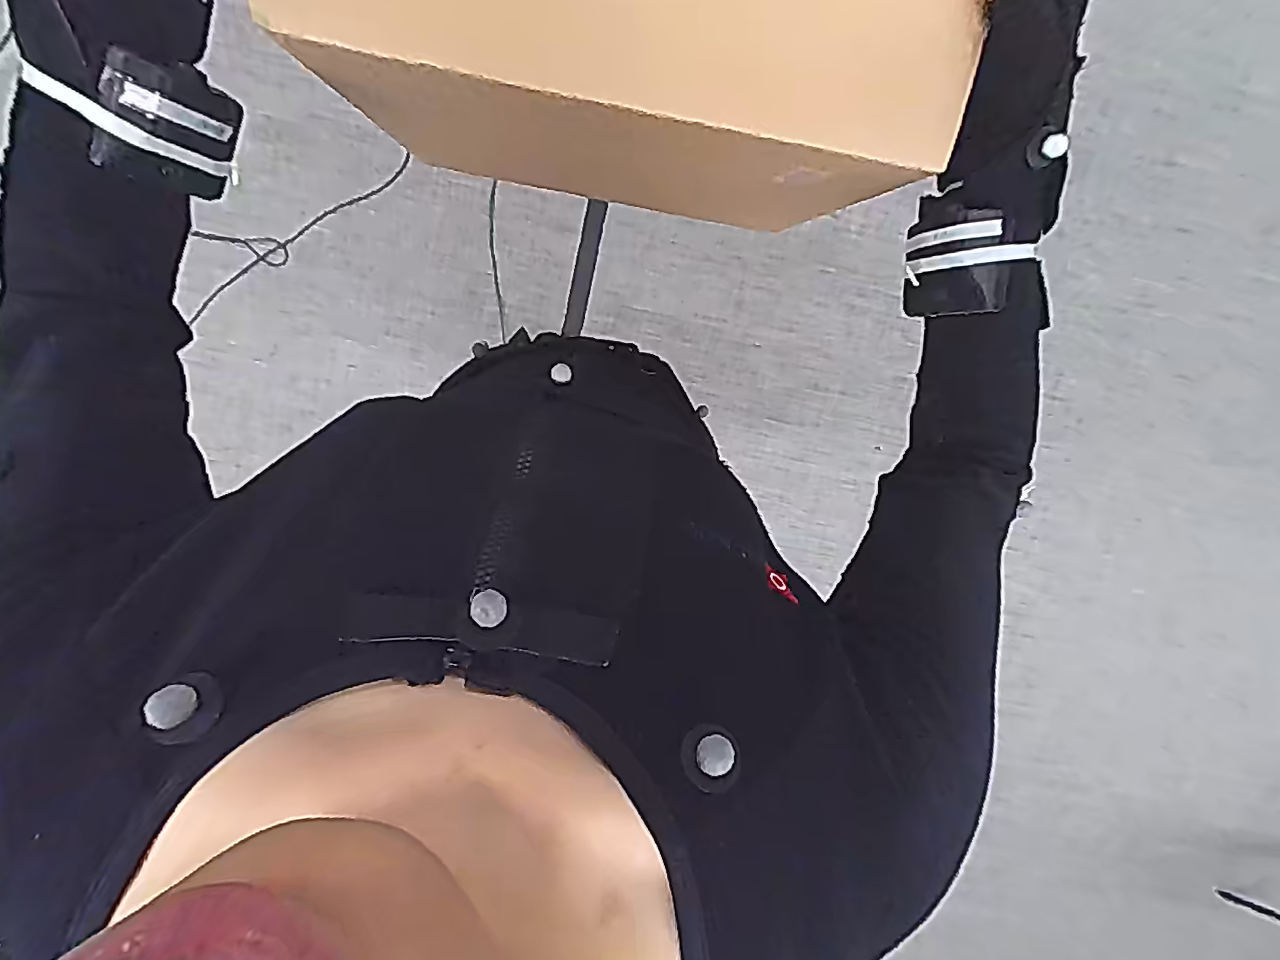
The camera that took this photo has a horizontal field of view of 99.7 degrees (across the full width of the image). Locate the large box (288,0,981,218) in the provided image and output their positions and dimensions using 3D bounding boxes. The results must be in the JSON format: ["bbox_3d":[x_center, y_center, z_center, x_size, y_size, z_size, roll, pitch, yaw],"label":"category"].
[{"bbox_3d":[0.004,-0.420,0.420,0.408,0.320,0.320,6,108,-8],"label":"large box"}]
